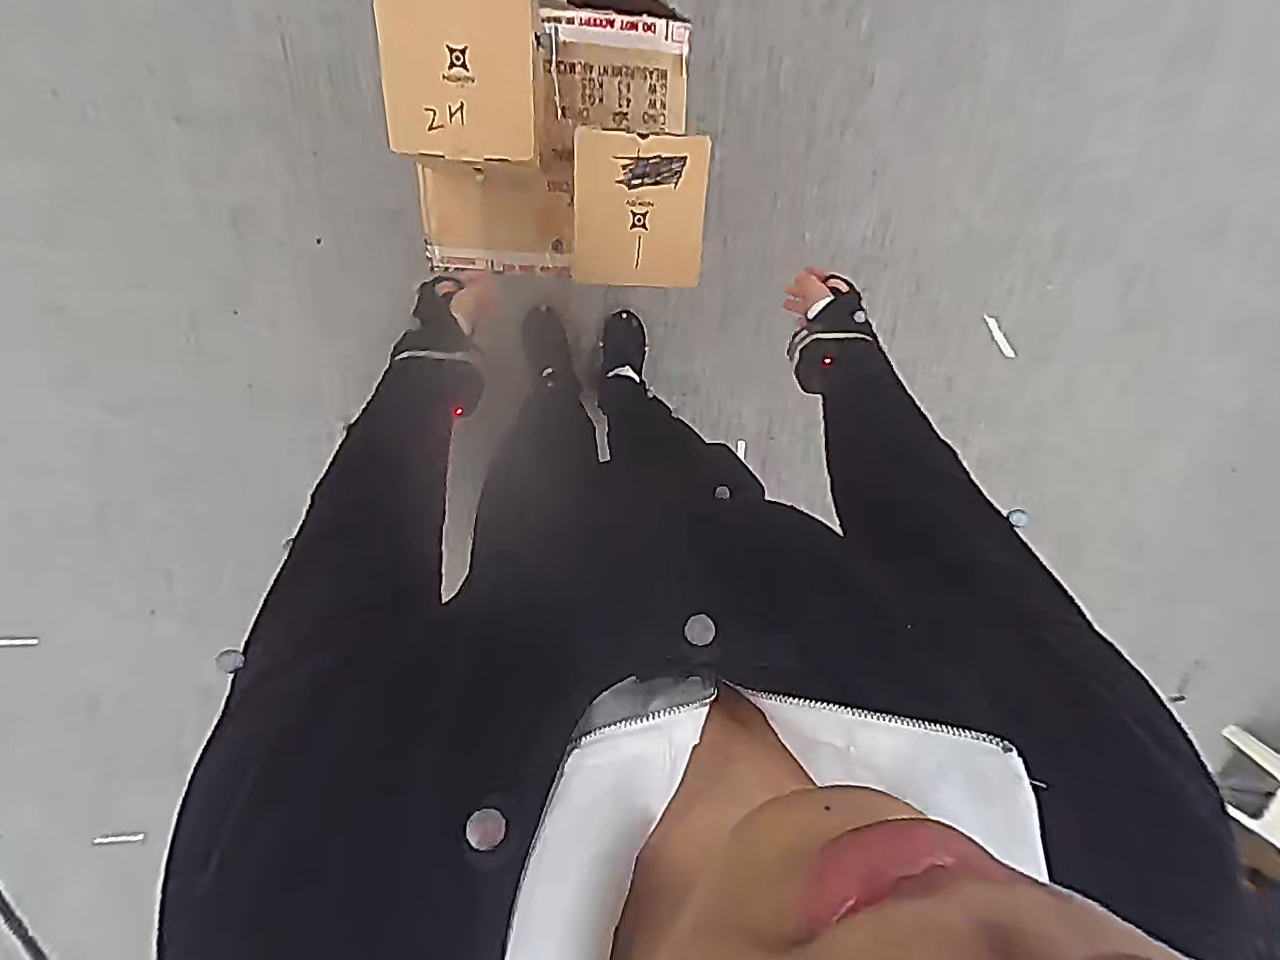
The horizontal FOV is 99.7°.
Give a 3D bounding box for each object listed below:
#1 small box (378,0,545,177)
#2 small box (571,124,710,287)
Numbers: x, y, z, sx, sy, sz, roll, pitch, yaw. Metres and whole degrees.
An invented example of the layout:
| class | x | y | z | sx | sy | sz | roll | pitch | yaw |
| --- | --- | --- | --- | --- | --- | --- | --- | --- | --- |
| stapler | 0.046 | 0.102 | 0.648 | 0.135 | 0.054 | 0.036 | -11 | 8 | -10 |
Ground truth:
| class | x | y | z | sx | sy | sz | roll | pitch | yaw |
| --- | --- | --- | --- | --- | --- | --- | --- | --- | --- |
| small box | -0.207 | -0.490 | 0.670 | 0.168 | 0.176 | 0.179 | 1 | 114 | -6 |
| small box | -0.011 | -0.370 | 0.750 | 0.168 | 0.176 | 0.179 | 0 | 115 | -8 |
